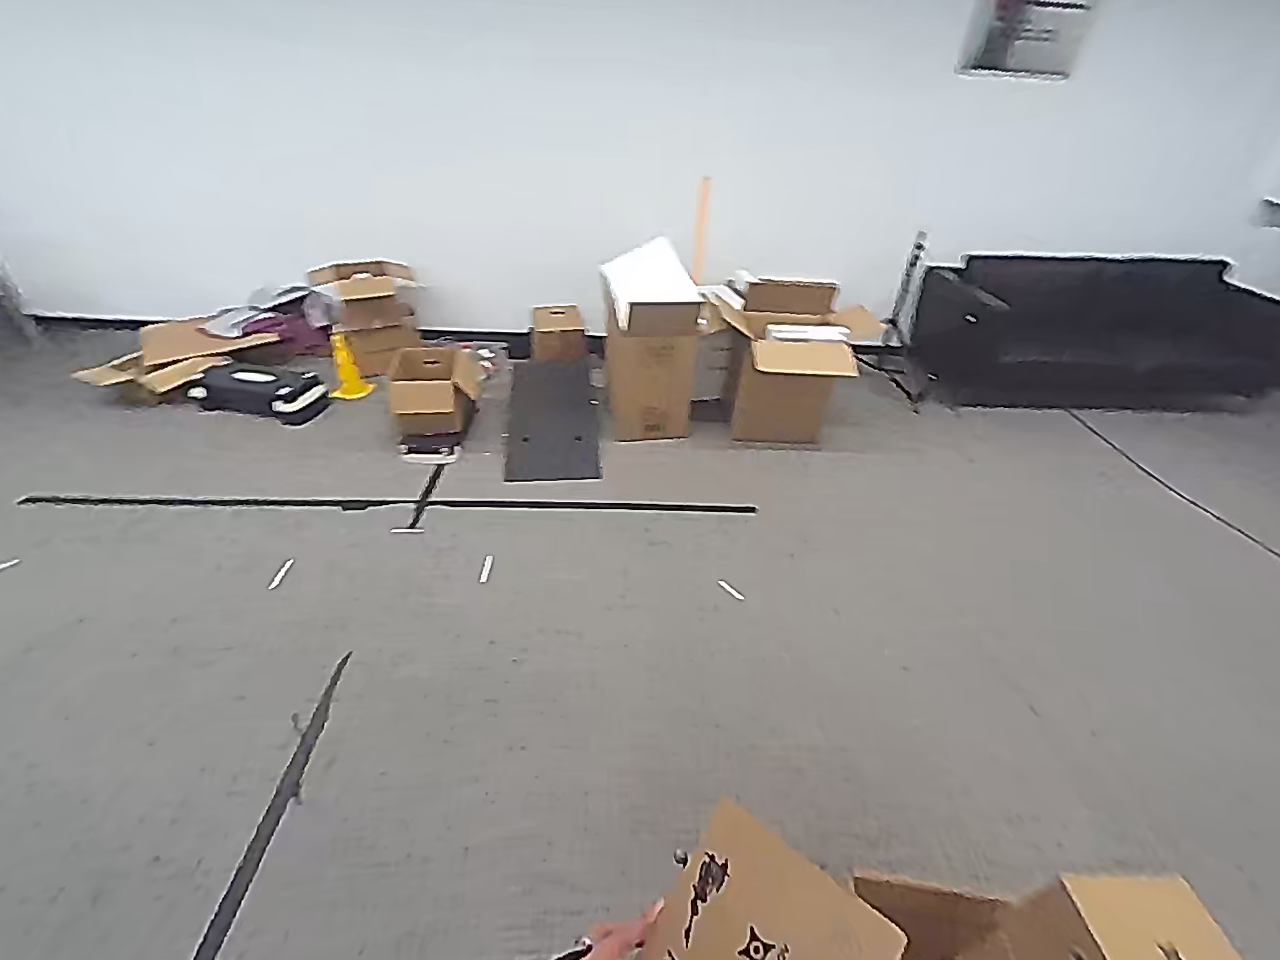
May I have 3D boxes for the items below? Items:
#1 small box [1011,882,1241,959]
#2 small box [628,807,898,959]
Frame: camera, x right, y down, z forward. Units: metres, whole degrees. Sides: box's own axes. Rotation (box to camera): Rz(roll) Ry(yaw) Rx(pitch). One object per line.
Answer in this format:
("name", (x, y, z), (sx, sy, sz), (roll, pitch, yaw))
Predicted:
("small box", (0.600, 0.619, 0.651), (0.168, 0.176, 0.179), (3, 37, -2))
("small box", (0.101, 0.440, 0.504), (0.179, 0.176, 0.168), (28, 62, 23))
